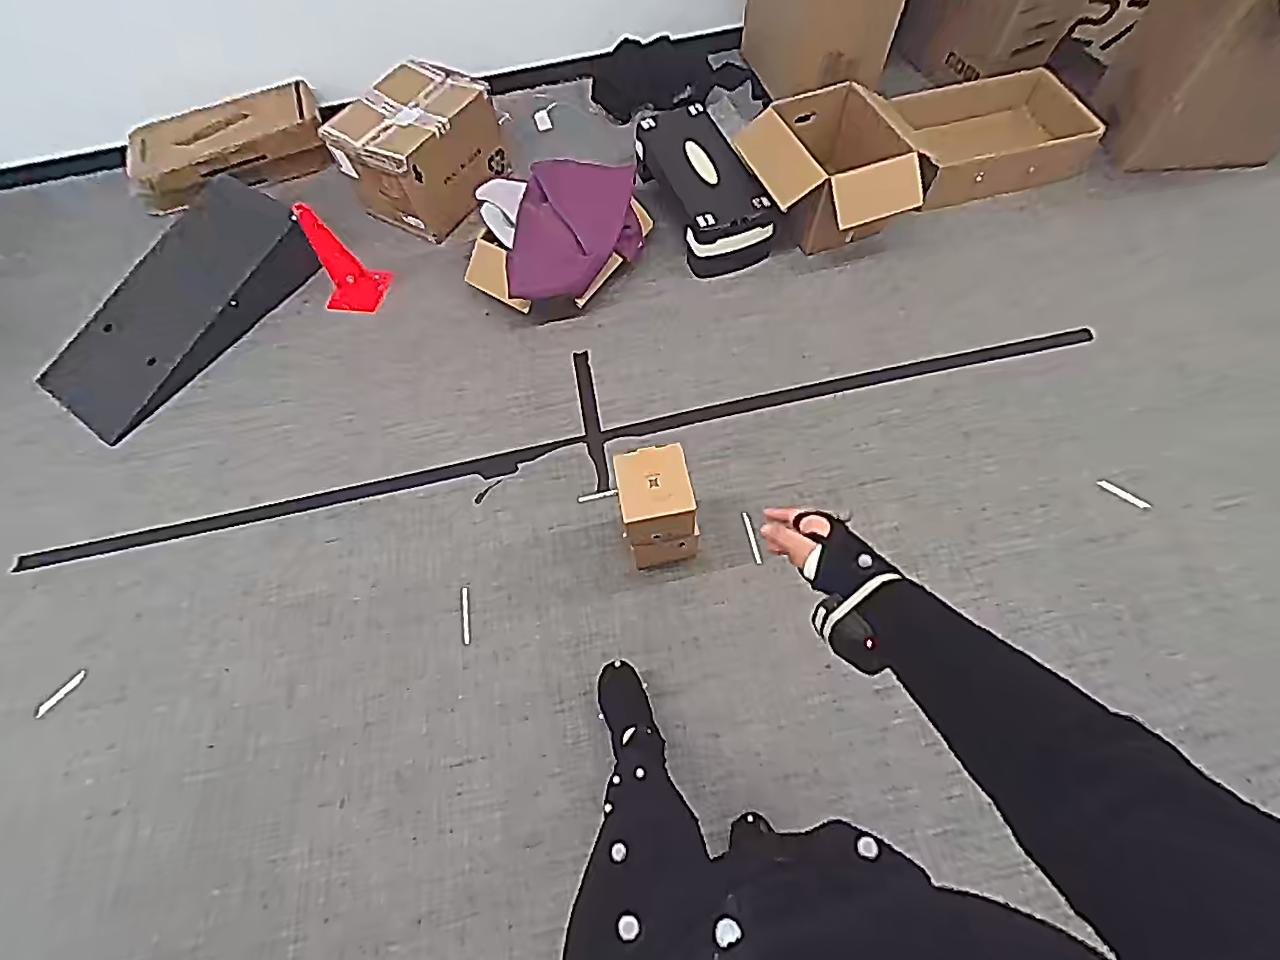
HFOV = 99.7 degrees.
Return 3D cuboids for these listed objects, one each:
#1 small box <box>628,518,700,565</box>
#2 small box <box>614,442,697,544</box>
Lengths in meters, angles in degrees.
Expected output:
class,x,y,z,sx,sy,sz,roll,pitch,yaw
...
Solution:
class,x,y,z,sx,sy,sz,roll,pitch,yaw
small box,0.052,0.113,1.440,0.179,0.176,0.168,-12,65,-2
small box,0.036,0.035,1.298,0.168,0.176,0.179,-11,66,-1
